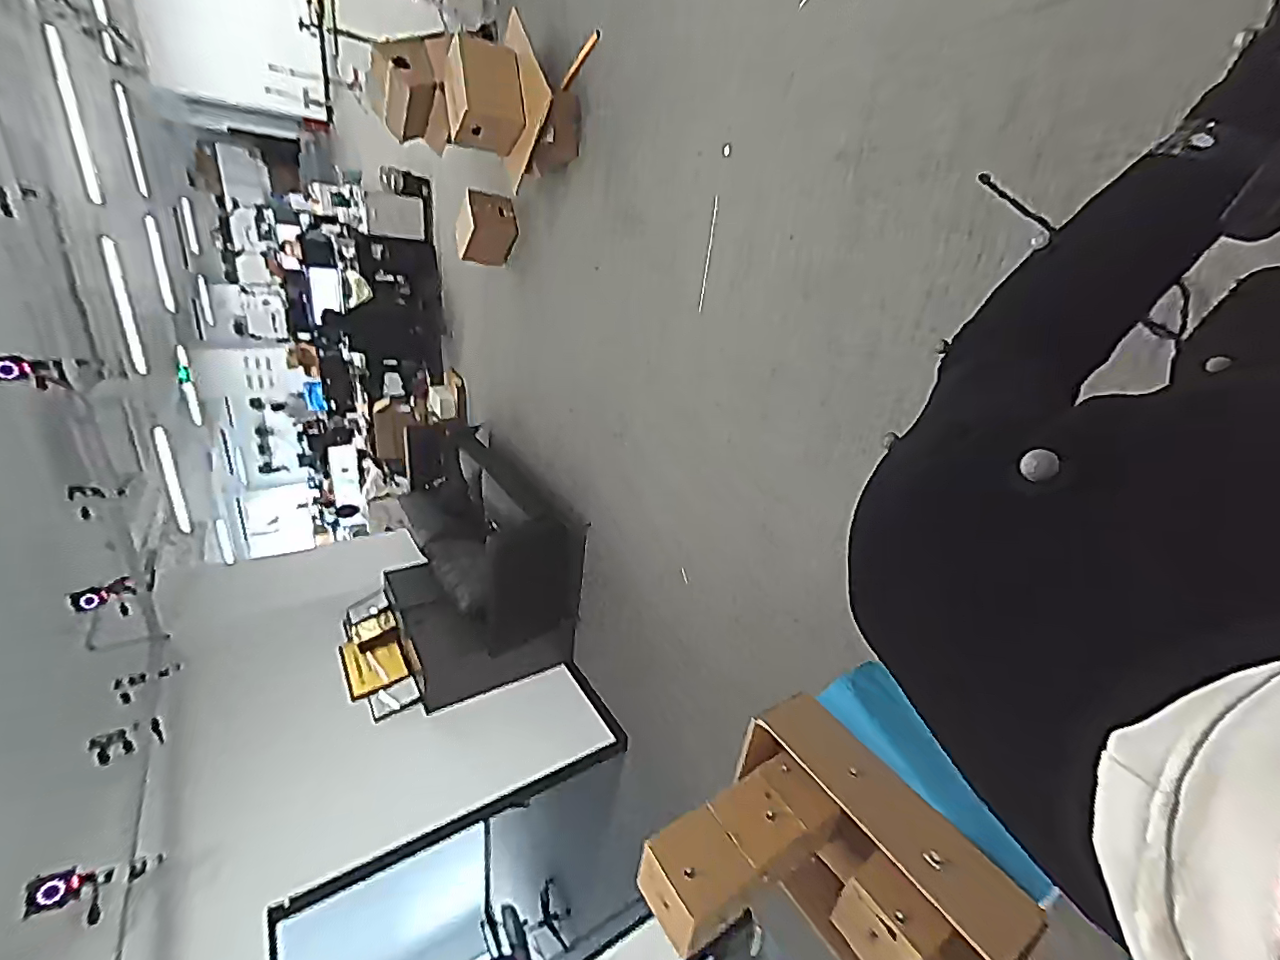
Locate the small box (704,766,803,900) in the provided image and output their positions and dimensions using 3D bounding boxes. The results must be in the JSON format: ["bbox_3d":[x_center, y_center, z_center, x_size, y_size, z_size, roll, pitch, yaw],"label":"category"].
[{"bbox_3d":[0.255,0.818,1.265,0.168,0.176,0.179,40,131,46],"label":"small box"}]

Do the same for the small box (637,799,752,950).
[{"bbox_3d":[0.118,0.847,1.177,0.179,0.176,0.168,40,131,46],"label":"small box"}]
